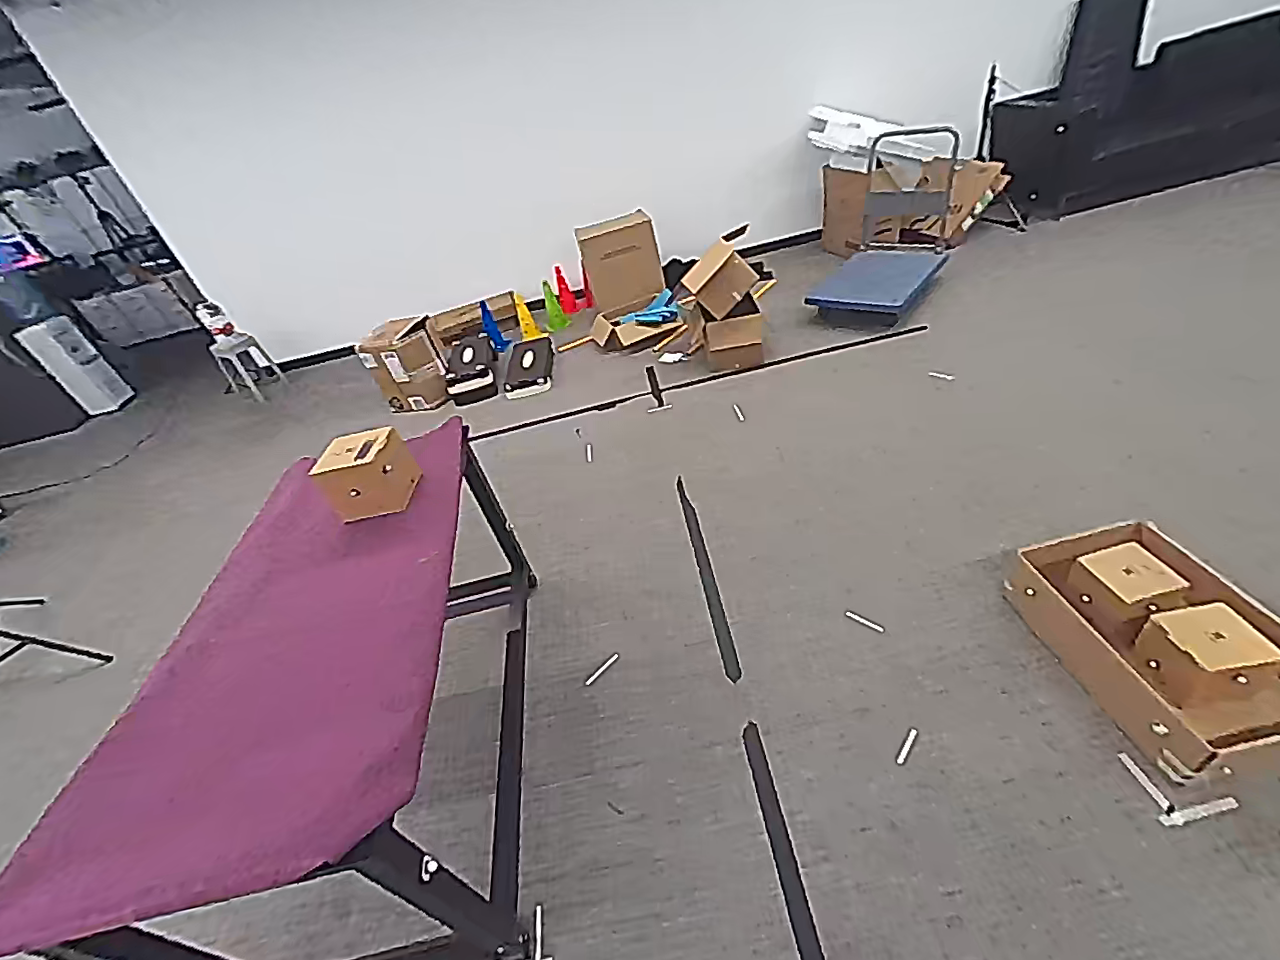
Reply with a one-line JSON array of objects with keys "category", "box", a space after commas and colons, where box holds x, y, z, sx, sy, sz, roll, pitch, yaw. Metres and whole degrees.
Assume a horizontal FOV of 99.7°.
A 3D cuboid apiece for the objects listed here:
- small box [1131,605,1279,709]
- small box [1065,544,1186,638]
[{"category": "small box", "box": [1.378, 0.437, 1.327, 0.179, 0.176, 0.168, -11, 37, 5]}, {"category": "small box", "box": [1.327, 0.311, 1.499, 0.179, 0.176, 0.168, -15, 39, -1]}]
